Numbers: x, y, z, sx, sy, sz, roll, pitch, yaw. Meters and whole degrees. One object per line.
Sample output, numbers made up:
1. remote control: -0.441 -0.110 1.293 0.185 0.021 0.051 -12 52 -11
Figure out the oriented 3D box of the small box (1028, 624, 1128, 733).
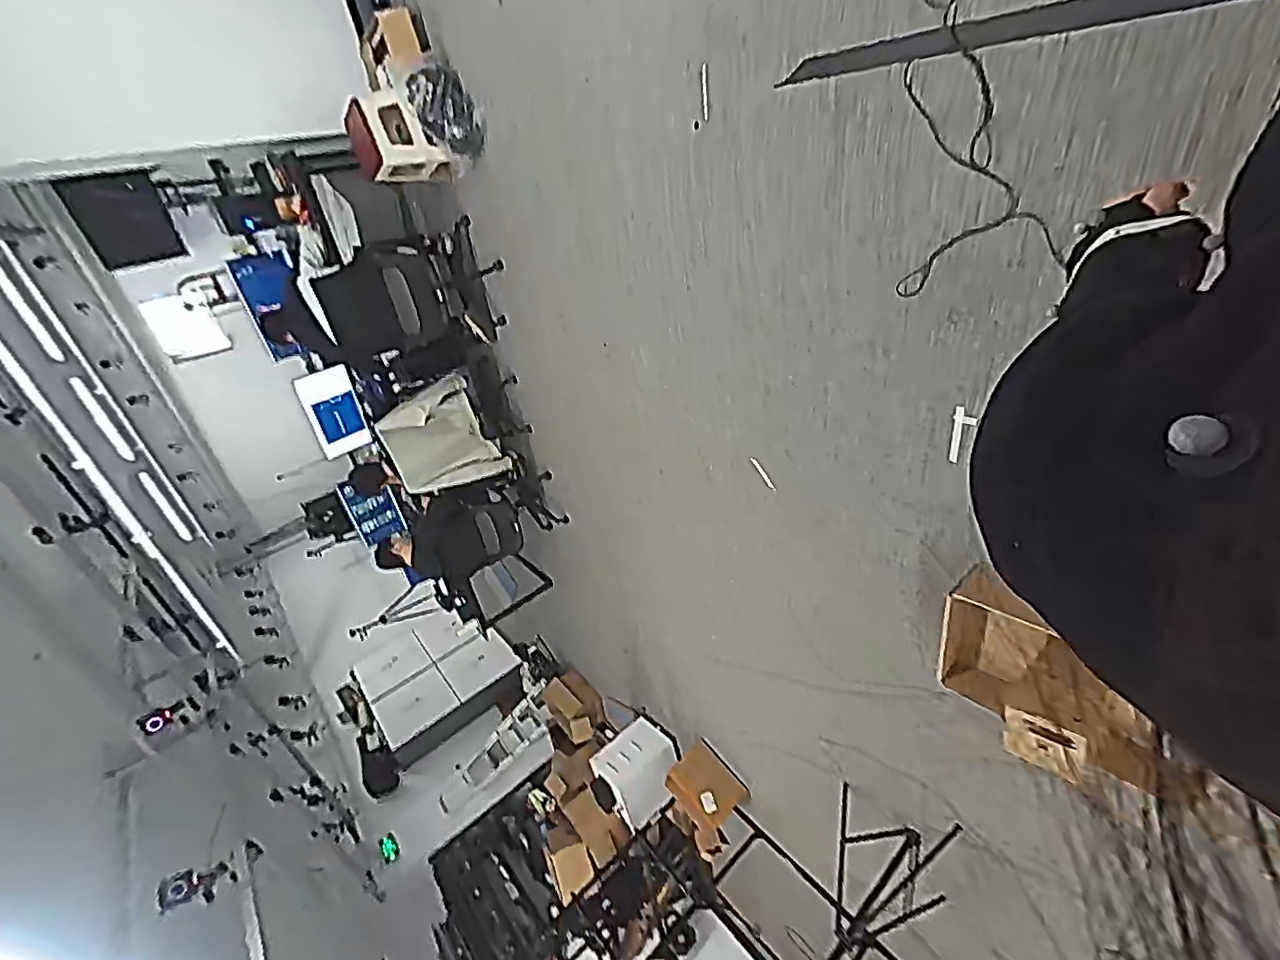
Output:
1. small box: 1.173 0.524 1.449 0.168 0.176 0.179 17 129 49
